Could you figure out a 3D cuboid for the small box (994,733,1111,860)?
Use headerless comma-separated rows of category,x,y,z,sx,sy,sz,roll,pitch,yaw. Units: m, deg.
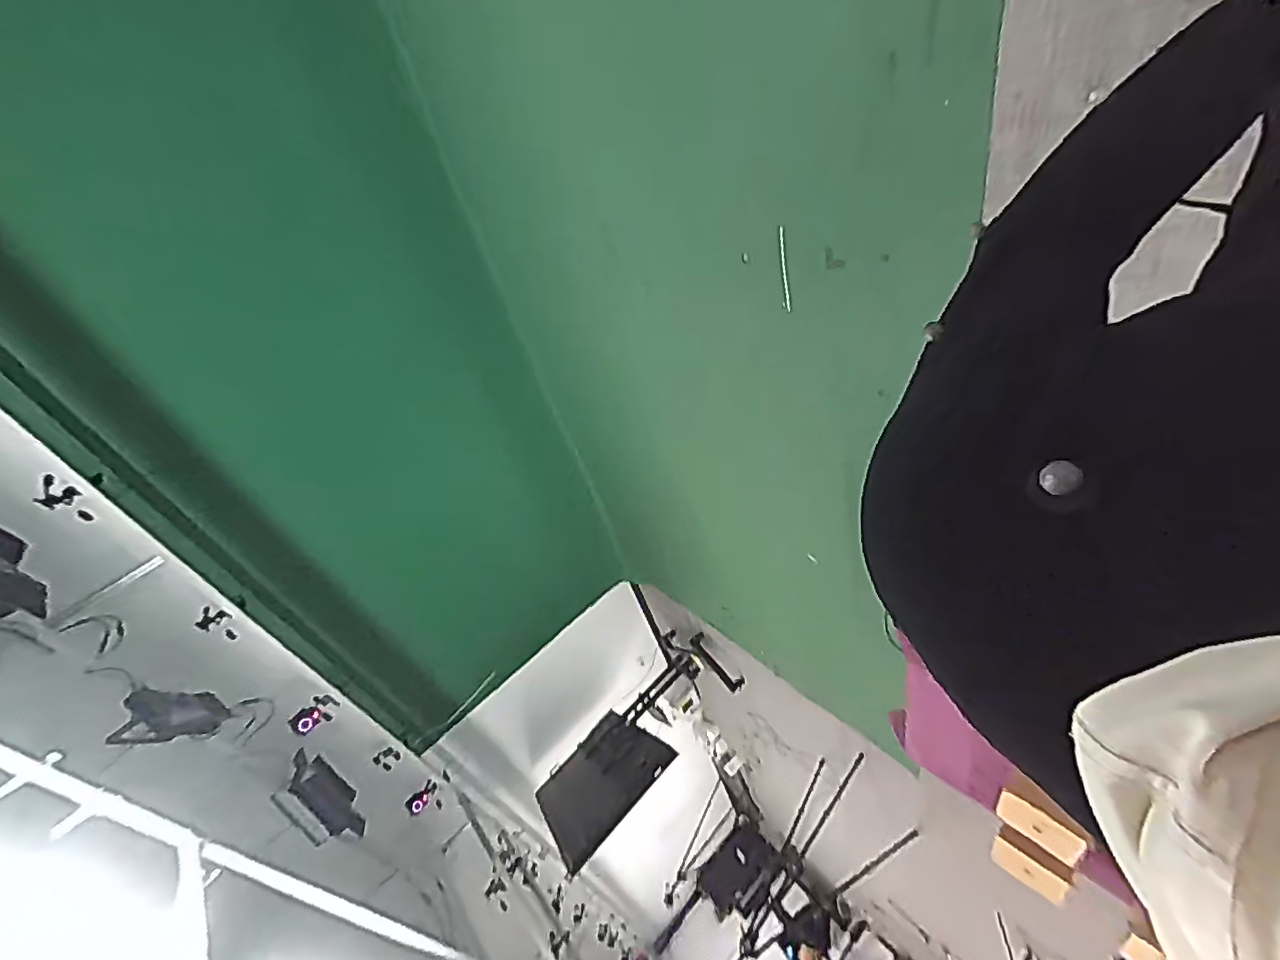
small box,0.985,0.753,1.295,0.168,0.176,0.179,27,148,43

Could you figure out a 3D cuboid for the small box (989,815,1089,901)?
small box,1.077,0.975,1.461,0.168,0.176,0.179,24,144,46

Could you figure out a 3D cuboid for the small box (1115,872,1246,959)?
small box,1.257,1.066,1.260,0.168,0.176,0.179,26,147,46
